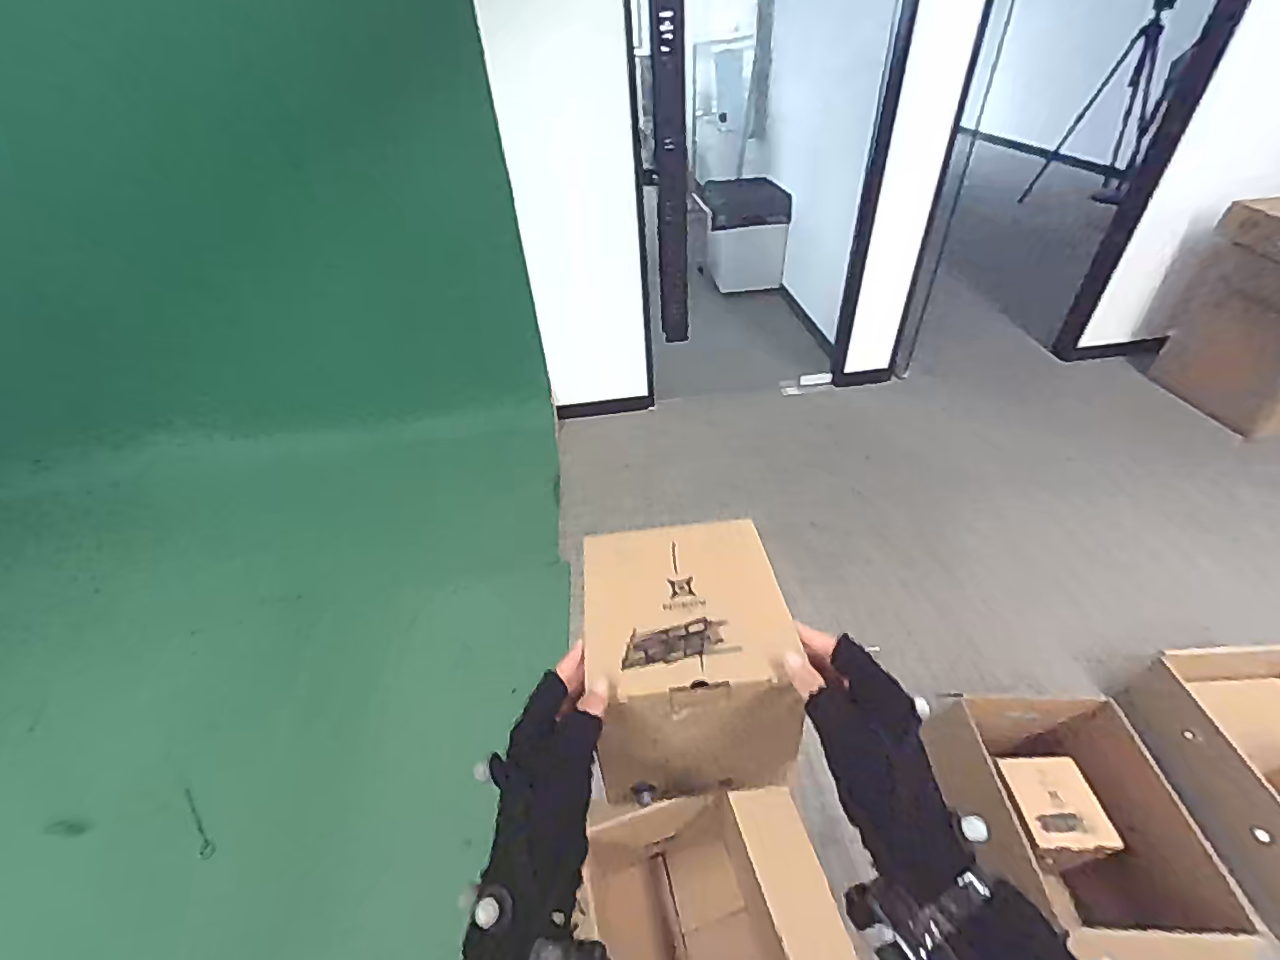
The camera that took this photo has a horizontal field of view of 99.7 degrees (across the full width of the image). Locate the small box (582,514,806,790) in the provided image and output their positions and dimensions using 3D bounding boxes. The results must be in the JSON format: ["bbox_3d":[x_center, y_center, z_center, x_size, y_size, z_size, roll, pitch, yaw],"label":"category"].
[{"bbox_3d":[0.041,0.158,0.495,0.168,0.176,0.179,-7,36,-1],"label":"small box"}]
